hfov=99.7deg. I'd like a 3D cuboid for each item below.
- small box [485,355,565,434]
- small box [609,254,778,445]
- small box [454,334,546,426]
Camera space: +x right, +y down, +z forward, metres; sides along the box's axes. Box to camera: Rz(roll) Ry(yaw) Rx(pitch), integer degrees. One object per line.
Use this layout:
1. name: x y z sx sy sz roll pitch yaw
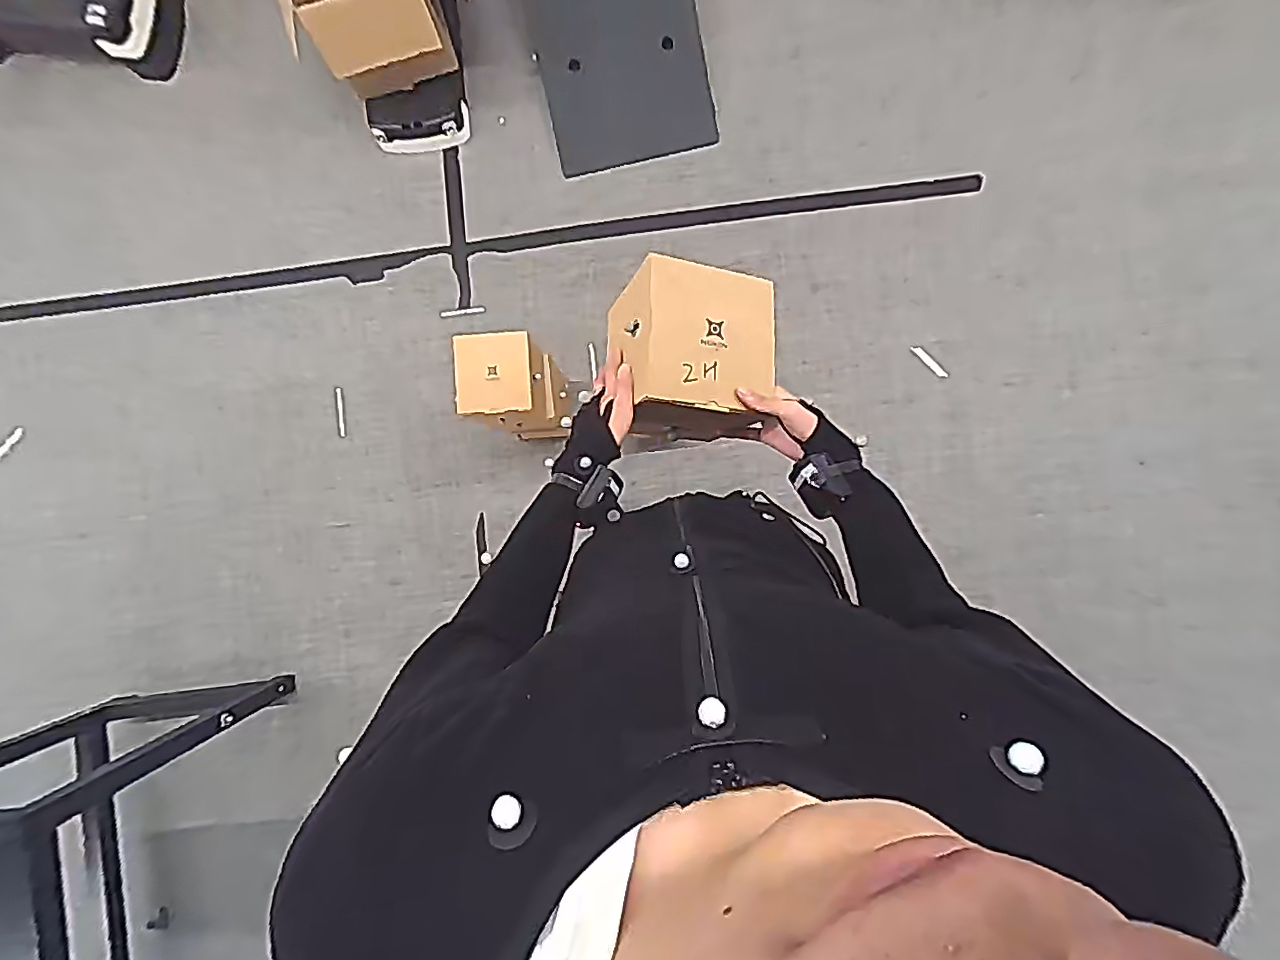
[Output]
1. small box: -0.301 -0.216 1.409 0.179 0.176 0.168 -6 89 1
2. small box: 0.060 -0.153 0.696 0.168 0.176 0.179 4 80 -18
3. small box: -0.316 -0.224 1.247 0.168 0.176 0.179 -4 89 1
